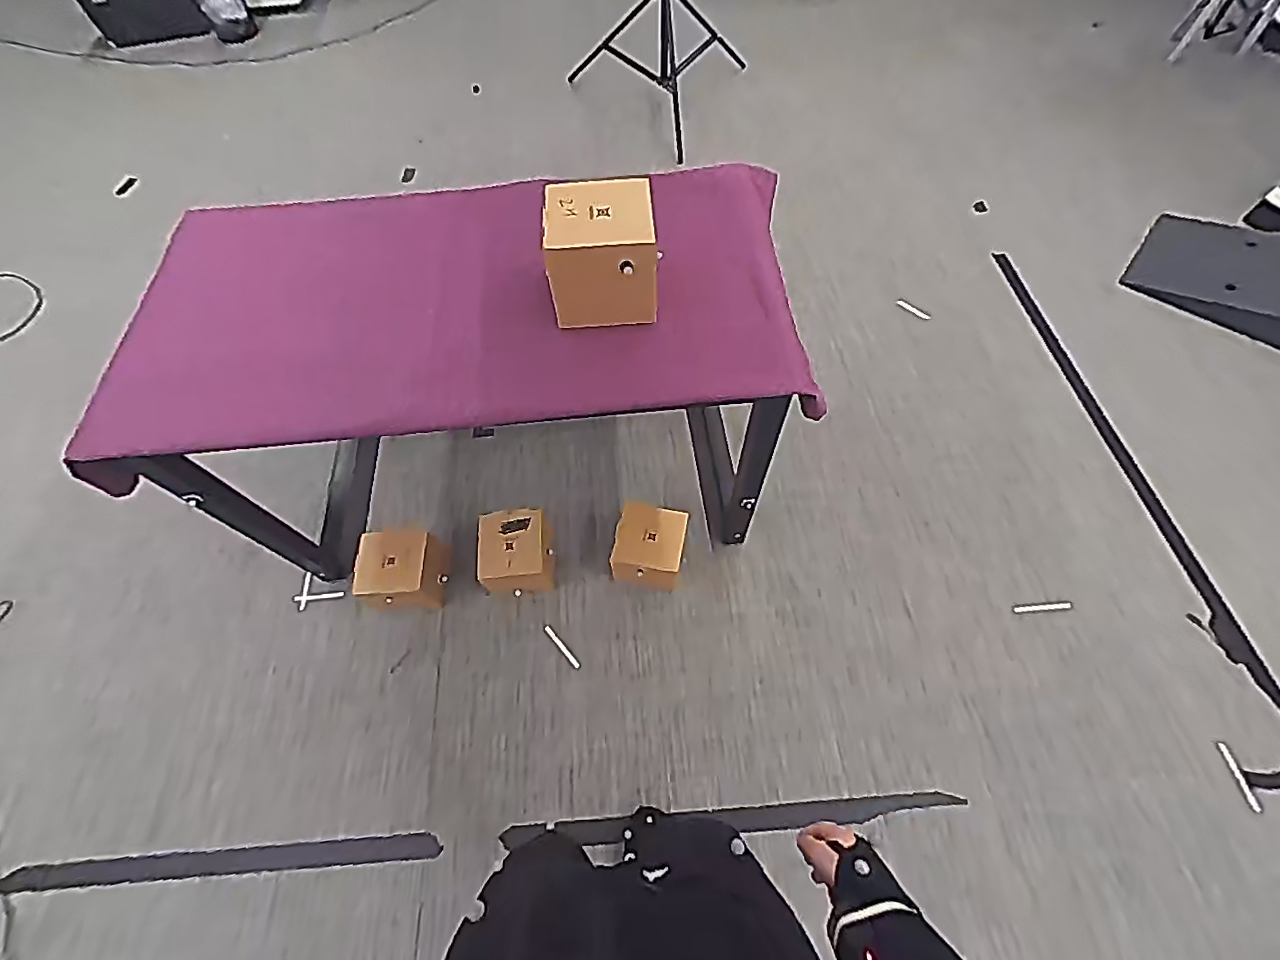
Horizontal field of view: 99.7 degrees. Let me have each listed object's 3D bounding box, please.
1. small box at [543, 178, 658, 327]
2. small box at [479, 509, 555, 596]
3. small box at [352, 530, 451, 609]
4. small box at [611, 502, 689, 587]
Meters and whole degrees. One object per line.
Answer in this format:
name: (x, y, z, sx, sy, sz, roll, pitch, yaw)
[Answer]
small box: (-0.061, -0.384, 0.927, 0.179, 0.176, 0.168, -4, 61, 1)
small box: (-0.324, 0.198, 1.452, 0.168, 0.176, 0.179, -6, 62, -1)
small box: (-0.627, 0.243, 1.442, 0.179, 0.176, 0.168, -3, 62, 0)
small box: (0.032, 0.179, 1.450, 0.179, 0.176, 0.168, 9, 63, 8)
